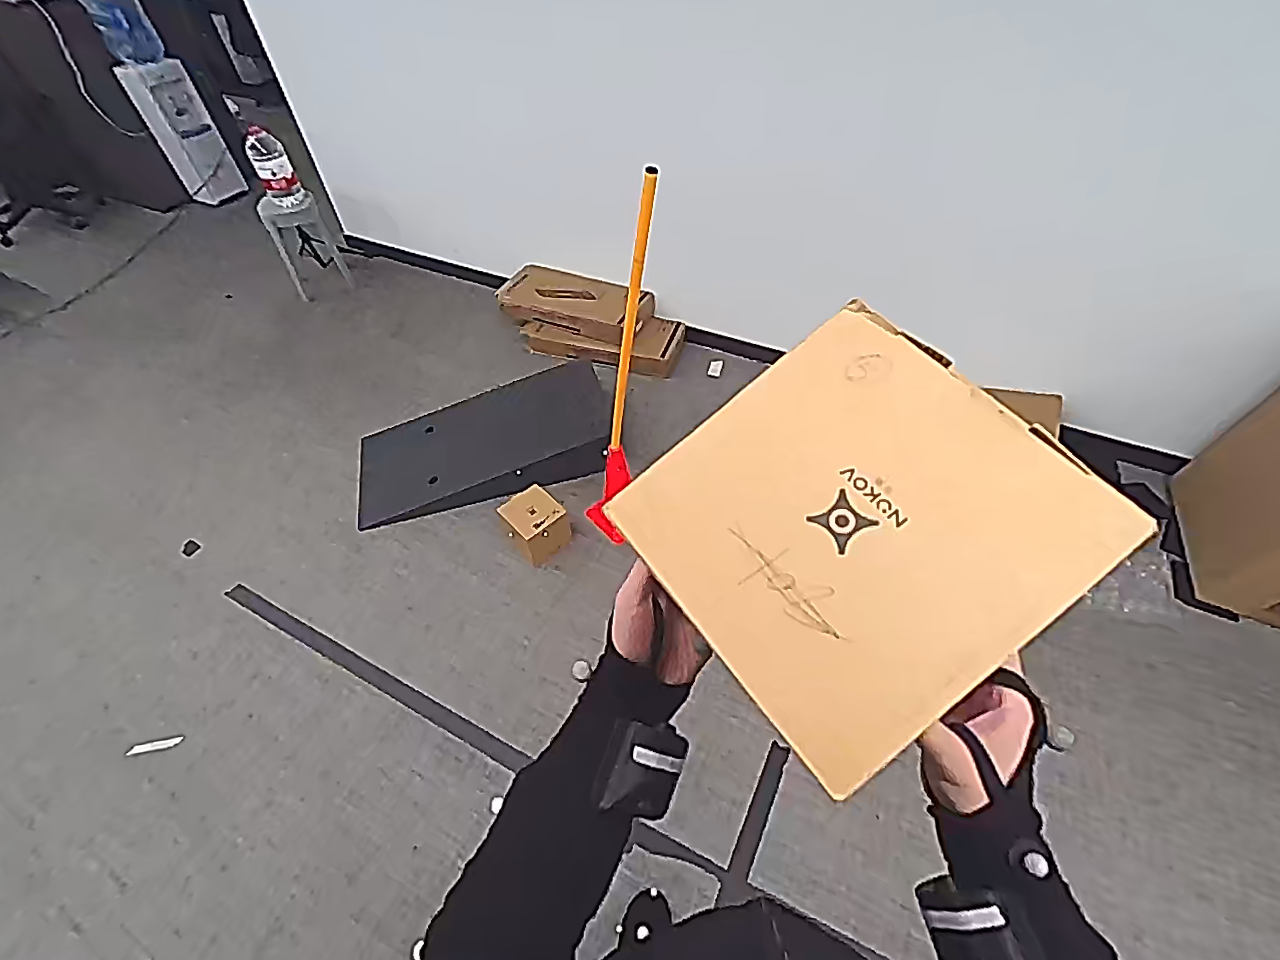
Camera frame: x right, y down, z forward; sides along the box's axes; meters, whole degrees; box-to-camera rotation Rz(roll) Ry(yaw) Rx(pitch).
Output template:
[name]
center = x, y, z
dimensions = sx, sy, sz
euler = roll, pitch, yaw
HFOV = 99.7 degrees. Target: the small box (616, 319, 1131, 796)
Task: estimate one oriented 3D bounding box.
[small box]
center = 0.117, 0.047, 0.333
dimensions = 0.179, 0.176, 0.168
euler = -41, 67, -1
